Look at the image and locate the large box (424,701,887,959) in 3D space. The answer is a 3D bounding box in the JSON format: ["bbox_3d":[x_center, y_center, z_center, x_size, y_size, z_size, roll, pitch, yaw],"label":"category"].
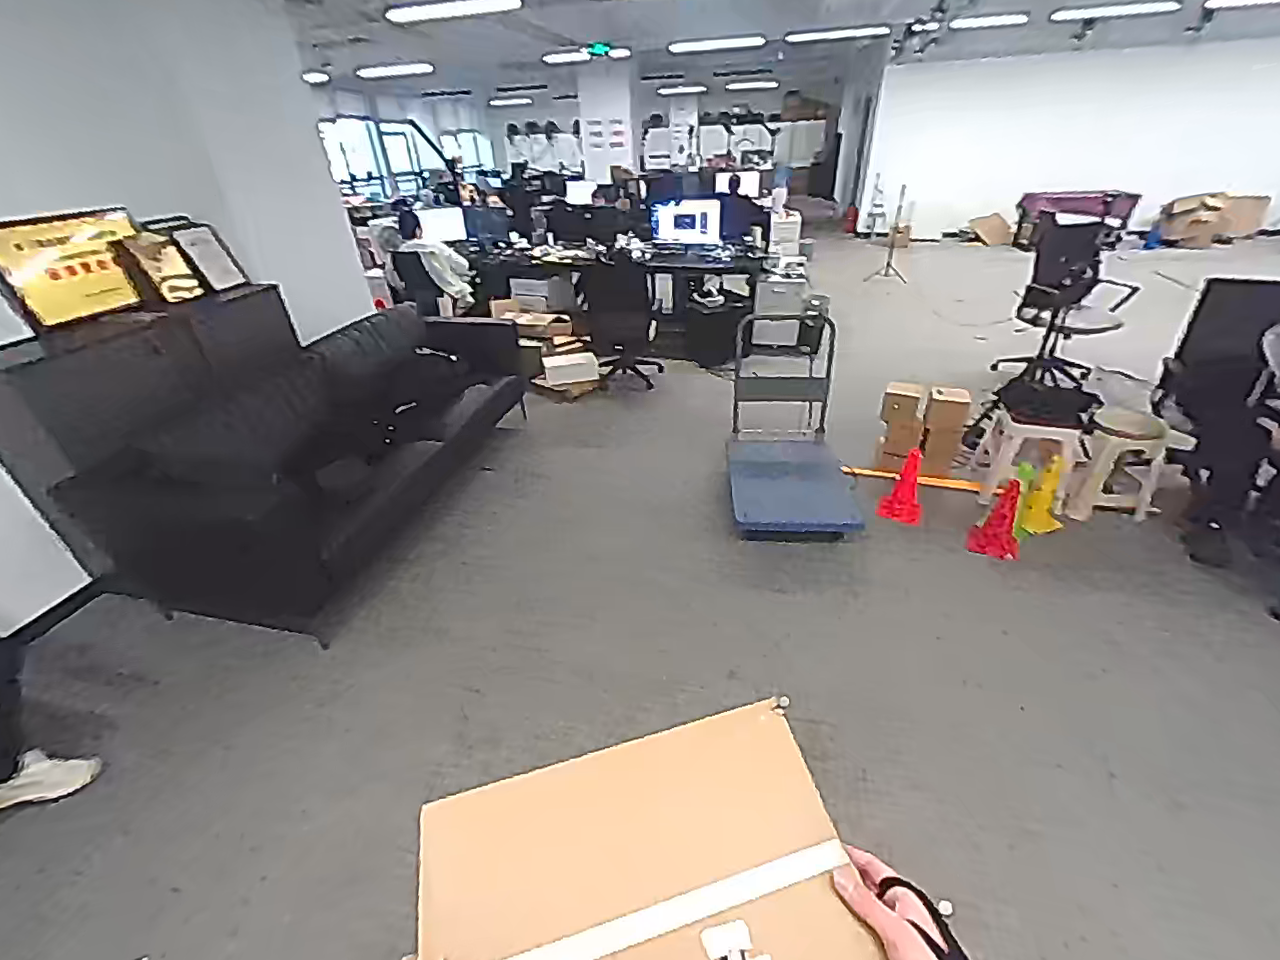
[{"bbox_3d":[0.007,0.516,0.612,0.408,0.320,0.320,-13,47,-11],"label":"large box"}]
